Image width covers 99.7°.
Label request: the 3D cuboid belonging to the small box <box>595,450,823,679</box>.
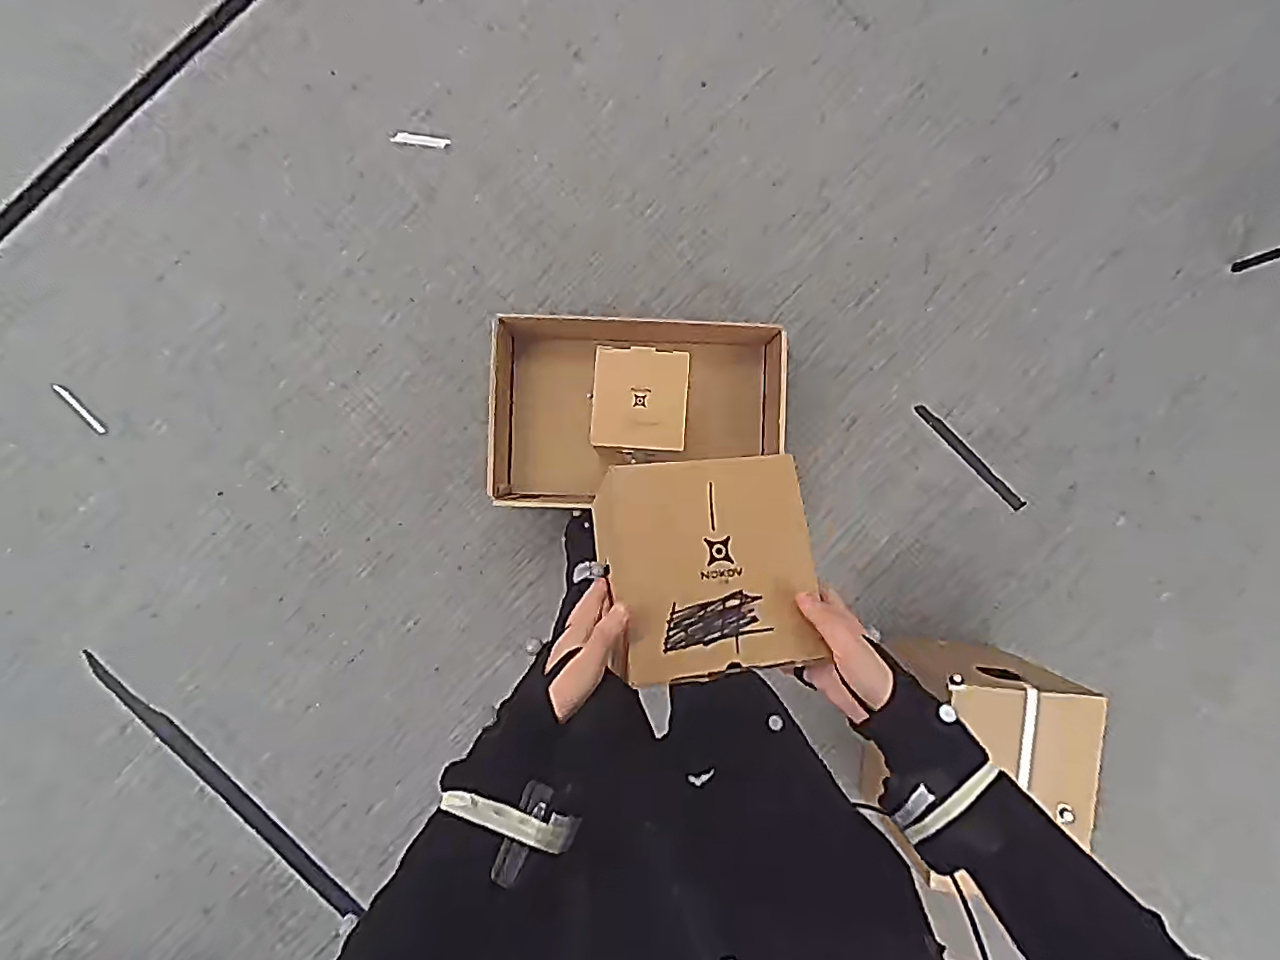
[{"bbox_3d":[0.049,0.081,0.520,0.168,0.176,0.179,-4,77,-11],"label":"small box"}]

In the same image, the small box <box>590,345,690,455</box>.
[{"bbox_3d":[-0.002,-0.143,1.018,0.168,0.176,0.179,3,91,-1],"label":"small box"}]
